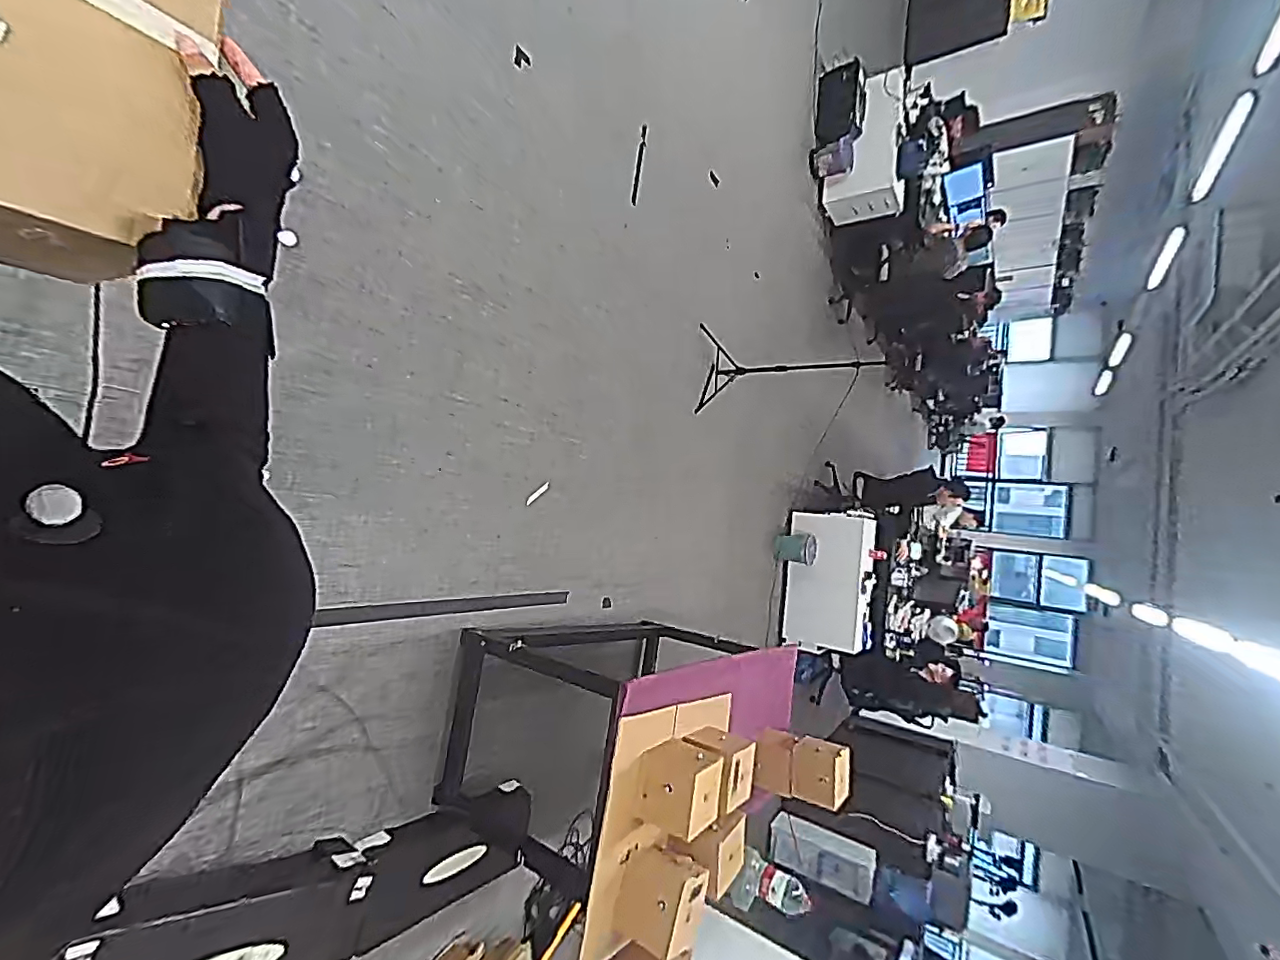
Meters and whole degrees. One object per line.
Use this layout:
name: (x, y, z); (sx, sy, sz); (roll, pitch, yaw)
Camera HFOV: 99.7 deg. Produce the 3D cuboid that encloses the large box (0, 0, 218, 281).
large box: (-0.577, -0.353, 0.344); (0.408, 0.320, 0.320); (5, 95, -58)
